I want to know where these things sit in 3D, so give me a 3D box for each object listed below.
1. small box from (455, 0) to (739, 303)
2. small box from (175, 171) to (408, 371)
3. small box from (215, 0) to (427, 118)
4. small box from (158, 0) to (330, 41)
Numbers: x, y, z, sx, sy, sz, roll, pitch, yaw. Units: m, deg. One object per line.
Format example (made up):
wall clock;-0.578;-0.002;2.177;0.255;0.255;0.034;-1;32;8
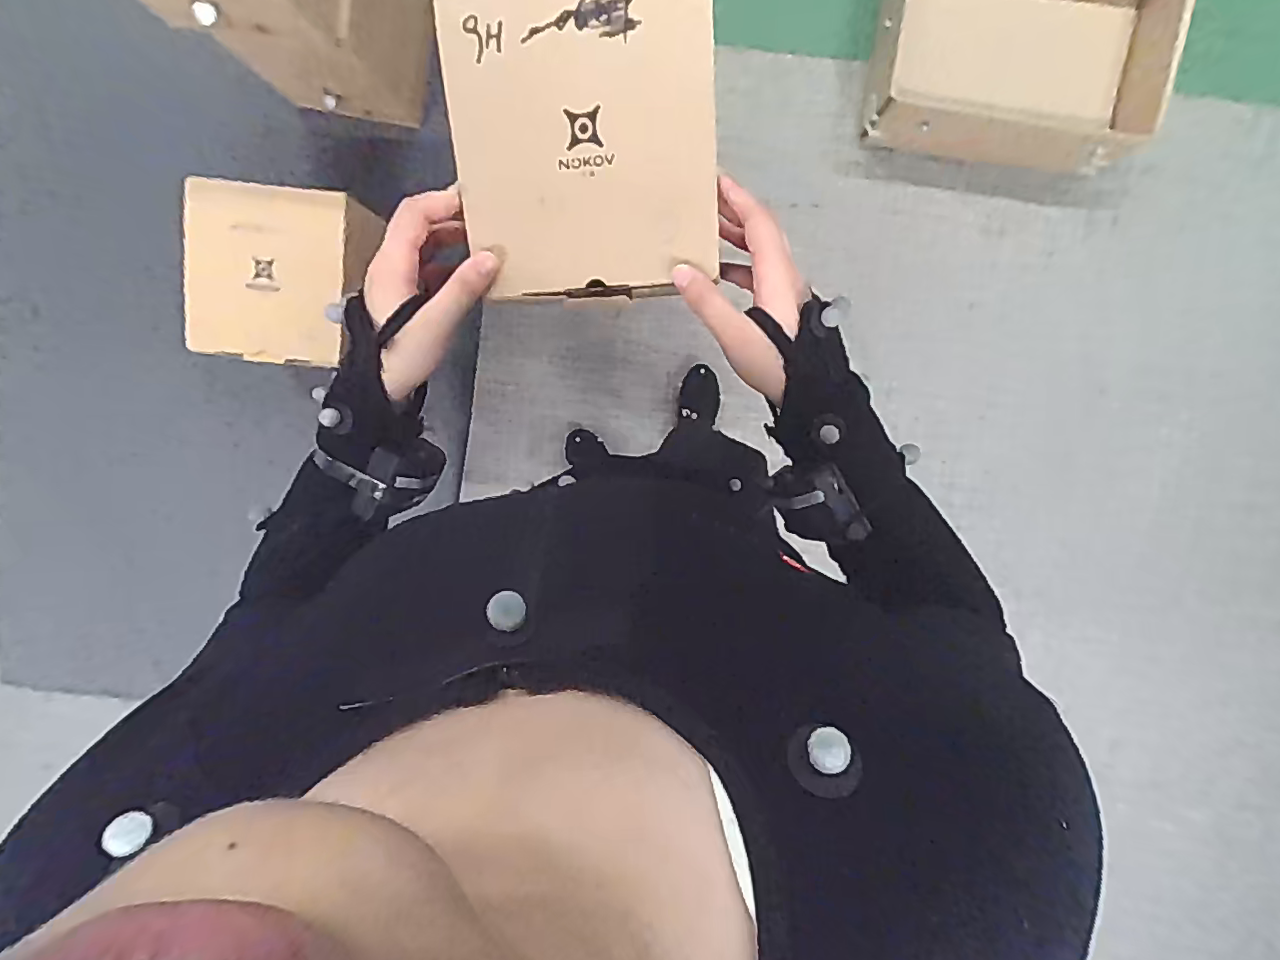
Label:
small box;-0.018;-0.231;0.407;0.168;0.176;0.179;-2;109;3
small box;-0.384;-0.224;0.625;0.168;0.176;0.179;5;97;-1
small box;-0.344;-0.533;0.575;0.168;0.176;0.179;11;99;0
small box;-0.359;-0.497;0.415;0.168;0.176;0.179;9;100;0
